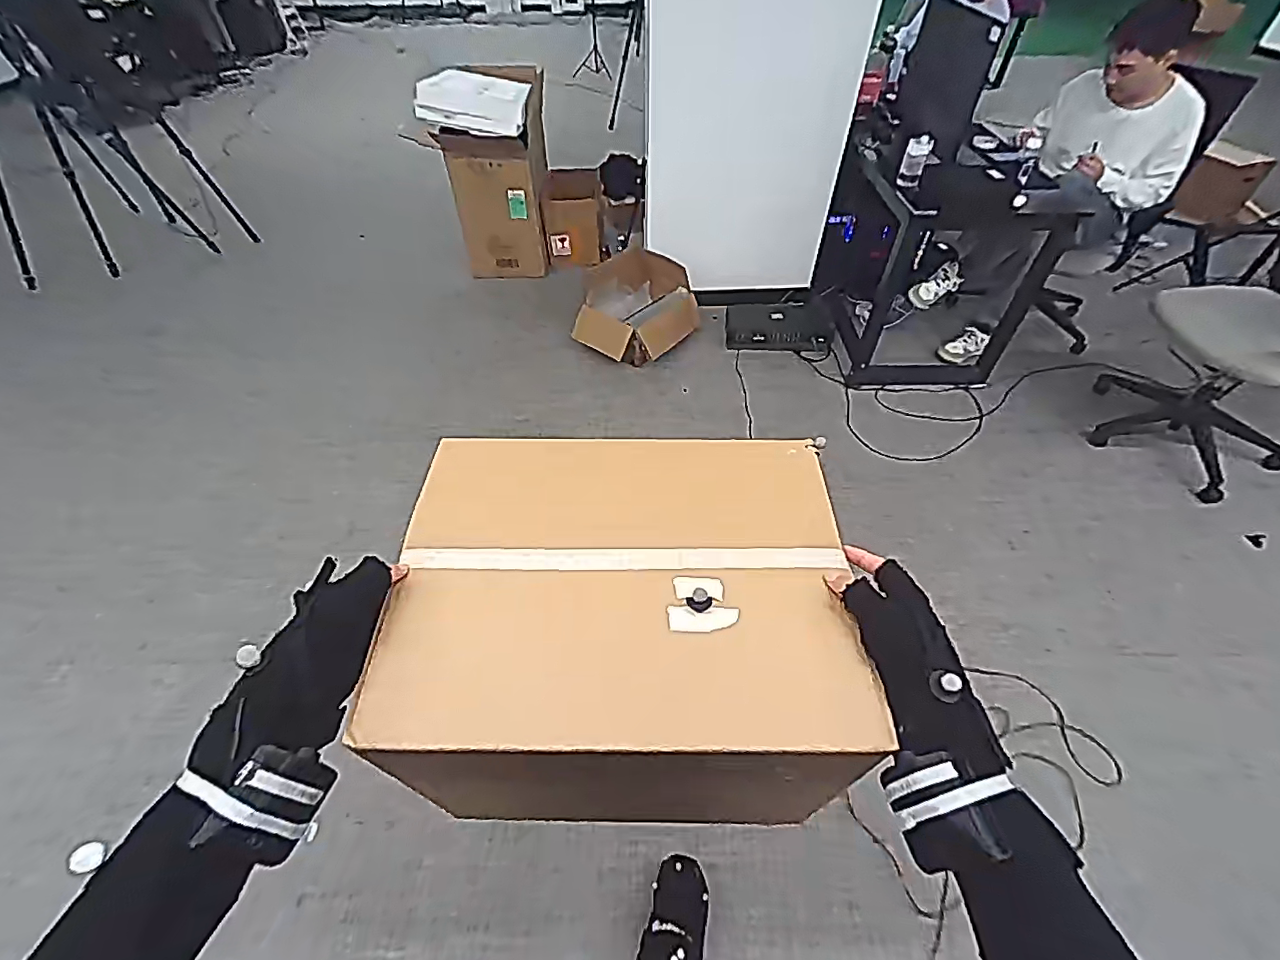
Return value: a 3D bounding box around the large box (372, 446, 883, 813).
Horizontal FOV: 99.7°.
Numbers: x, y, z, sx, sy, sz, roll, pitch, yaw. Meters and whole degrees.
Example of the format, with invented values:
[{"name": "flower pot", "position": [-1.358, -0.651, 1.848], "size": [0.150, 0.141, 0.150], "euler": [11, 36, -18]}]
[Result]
[{"name": "large box", "position": [-0.012, 0.175, 0.622], "size": [0.408, 0.320, 0.320], "euler": [1, 50, 0]}]
